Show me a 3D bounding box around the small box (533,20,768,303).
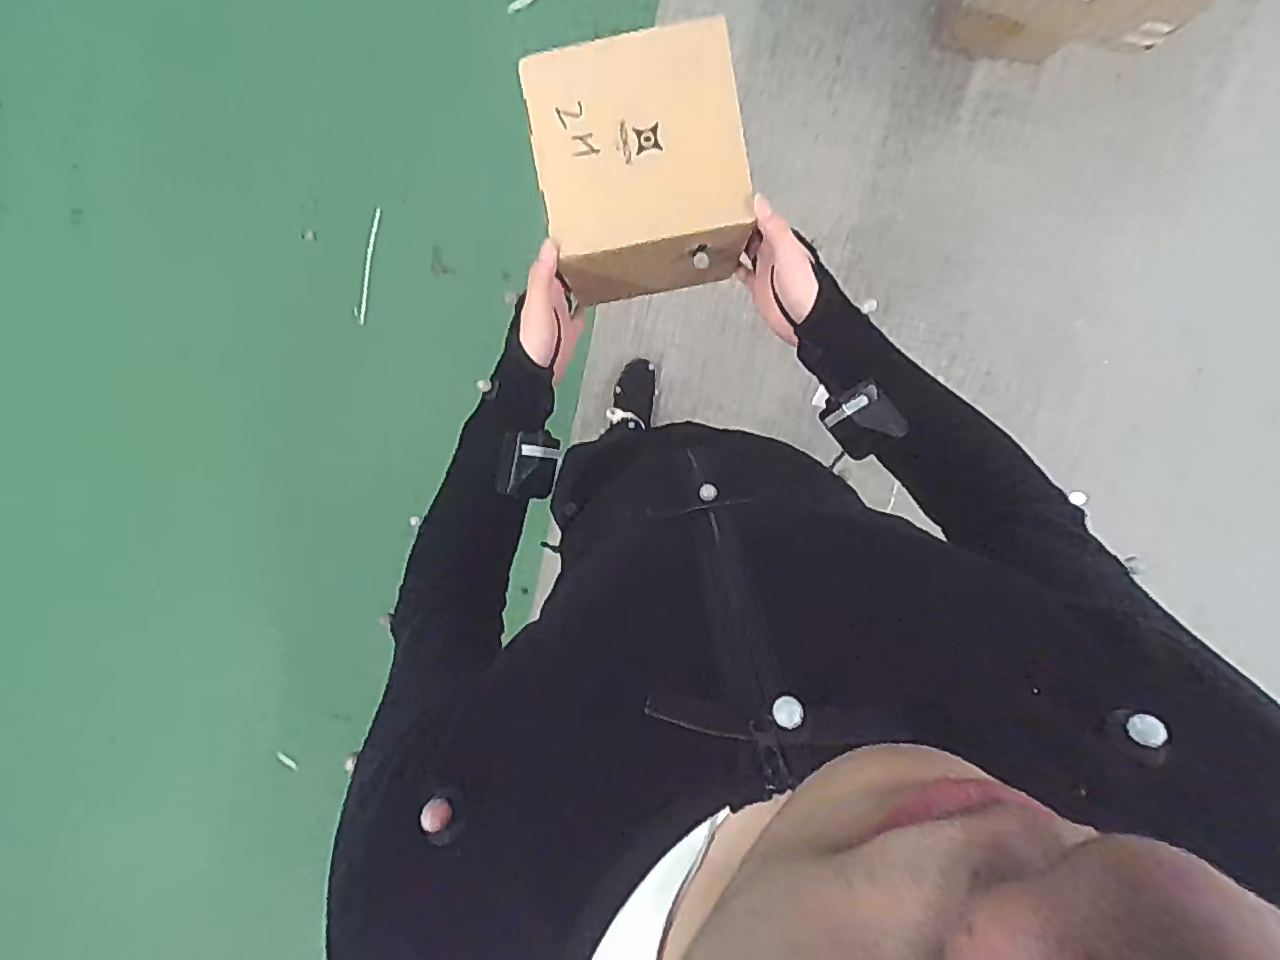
[{"bbox_3d":[0.010,-0.286,0.526,0.179,0.176,0.168,-10,93,2],"label":"small box"}]
